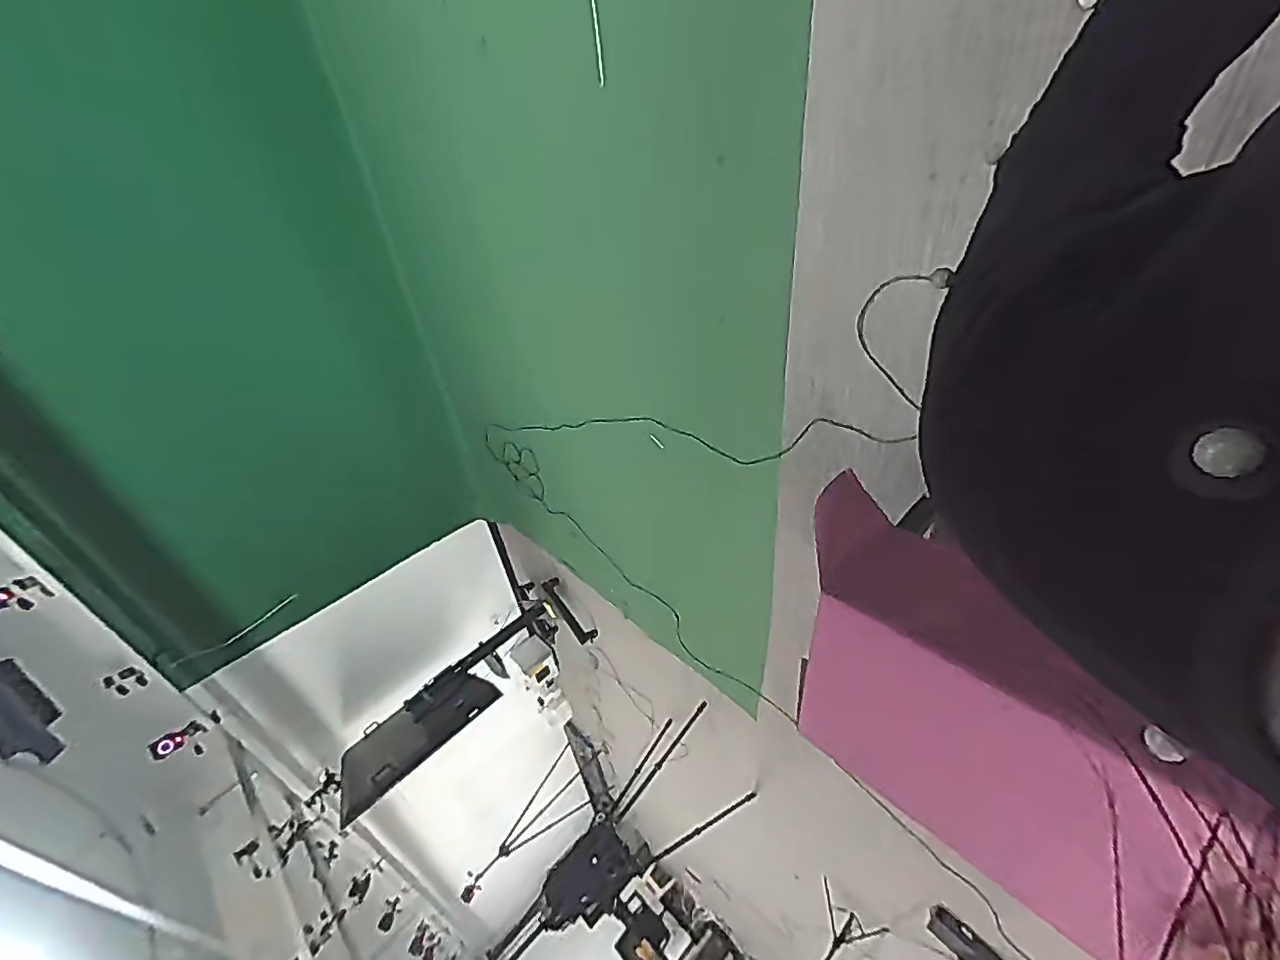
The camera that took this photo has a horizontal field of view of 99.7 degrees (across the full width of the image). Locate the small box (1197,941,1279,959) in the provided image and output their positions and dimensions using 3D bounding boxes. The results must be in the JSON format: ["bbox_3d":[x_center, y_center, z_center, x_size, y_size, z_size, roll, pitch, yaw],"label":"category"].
[{"bbox_3d":[0.935,0.812,0.764,0.179,0.176,0.168,38,144,29],"label":"small box"}]
